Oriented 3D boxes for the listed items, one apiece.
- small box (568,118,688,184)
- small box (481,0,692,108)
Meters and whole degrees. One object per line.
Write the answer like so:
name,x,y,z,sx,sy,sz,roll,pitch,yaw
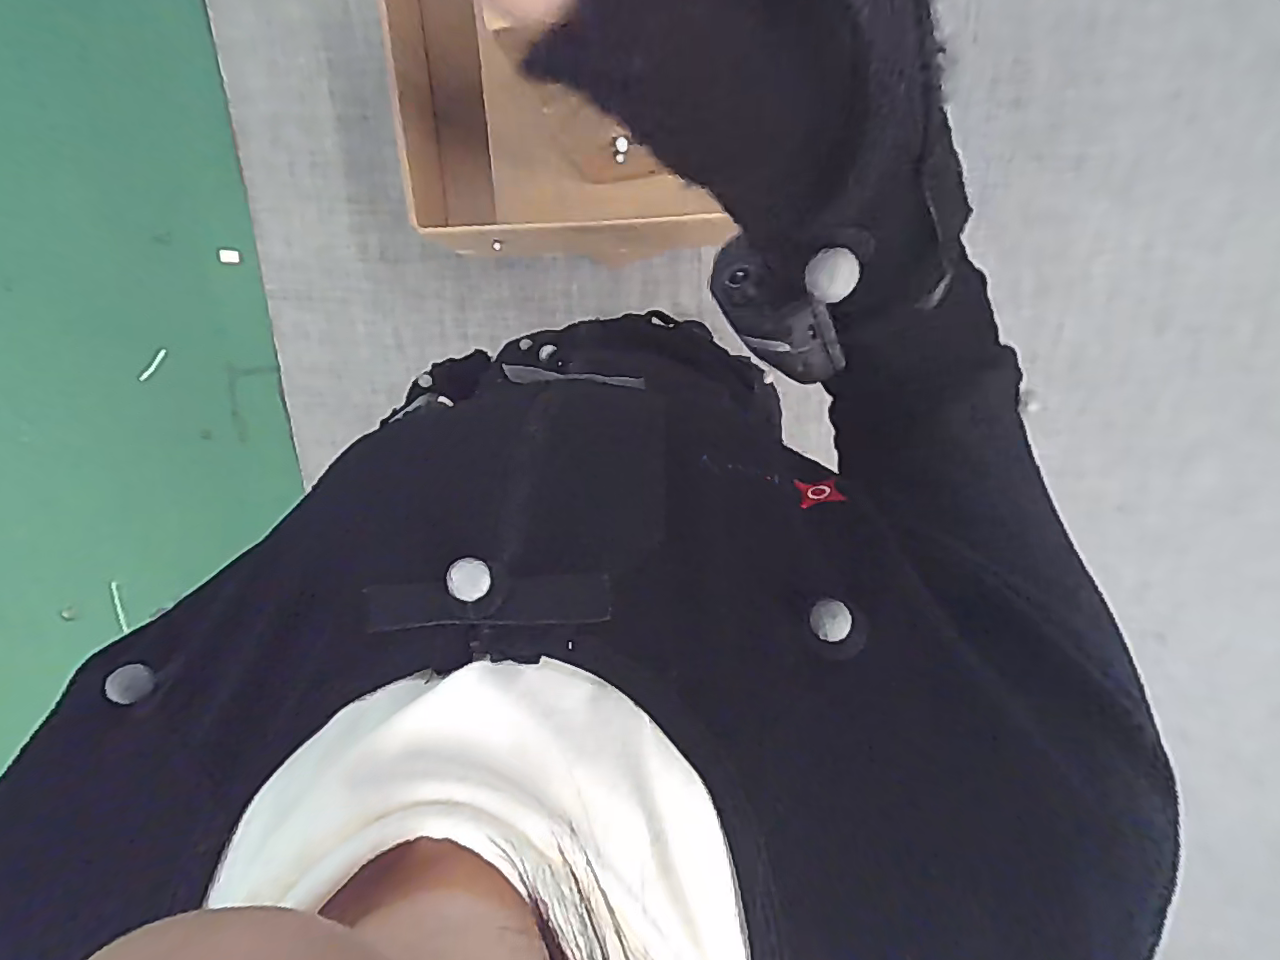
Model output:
small box,-0.020,-0.558,0.784,0.168,0.176,0.179,-6,104,7
small box,-0.045,-0.466,0.473,0.168,0.176,0.179,-6,106,7
